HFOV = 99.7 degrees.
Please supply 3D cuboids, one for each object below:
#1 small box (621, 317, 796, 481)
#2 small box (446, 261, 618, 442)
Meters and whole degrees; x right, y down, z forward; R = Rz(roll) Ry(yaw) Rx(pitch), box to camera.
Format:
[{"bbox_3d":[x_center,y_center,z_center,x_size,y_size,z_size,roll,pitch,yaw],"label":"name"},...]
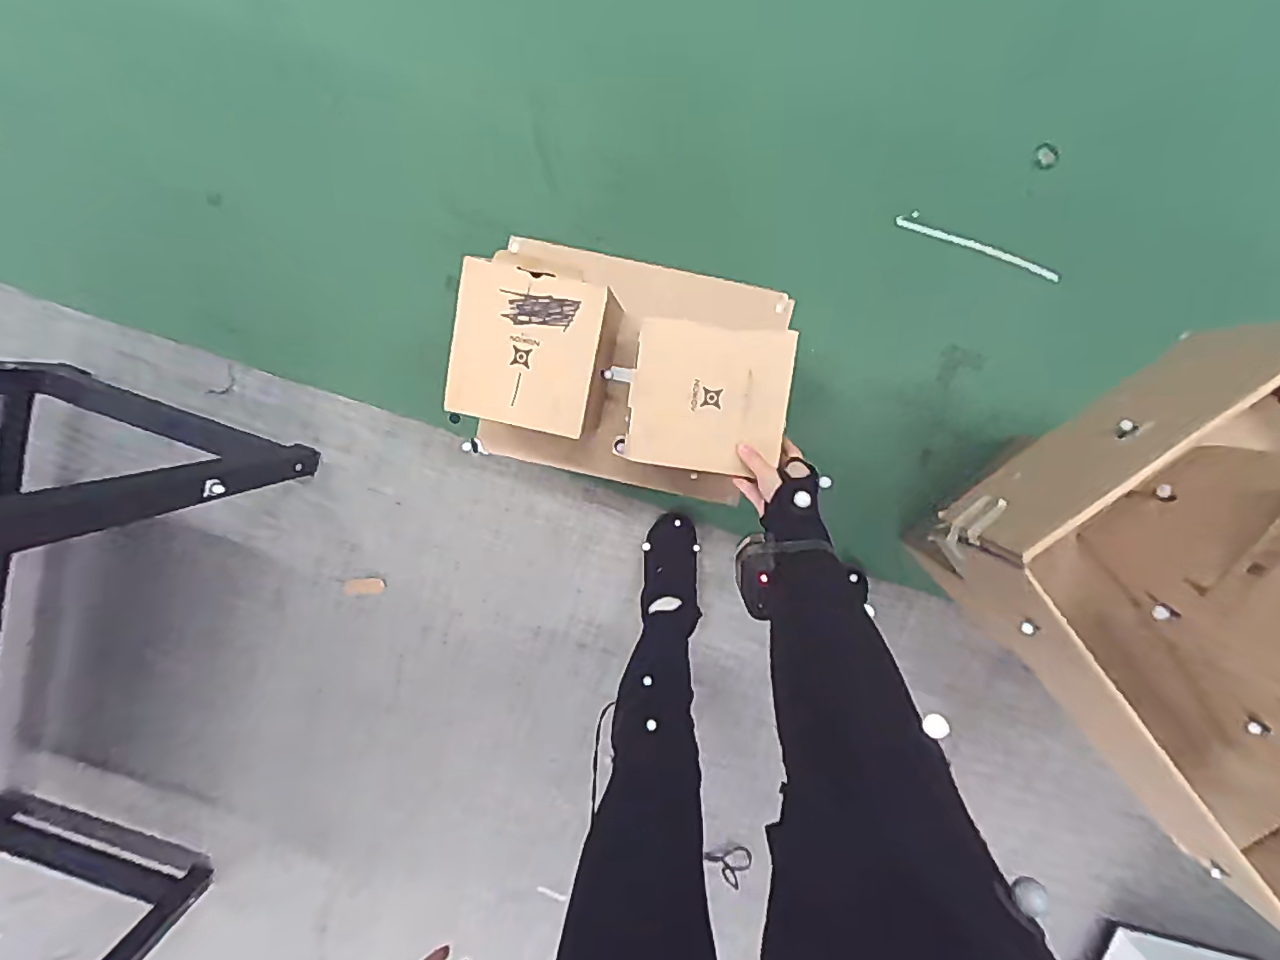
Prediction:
[{"bbox_3d":[0.084,-0.098,0.683,0.179,0.176,0.168,9,98,7],"label":"small box"},{"bbox_3d":[-0.126,-0.158,0.695,0.168,0.176,0.179,13,100,2],"label":"small box"}]
